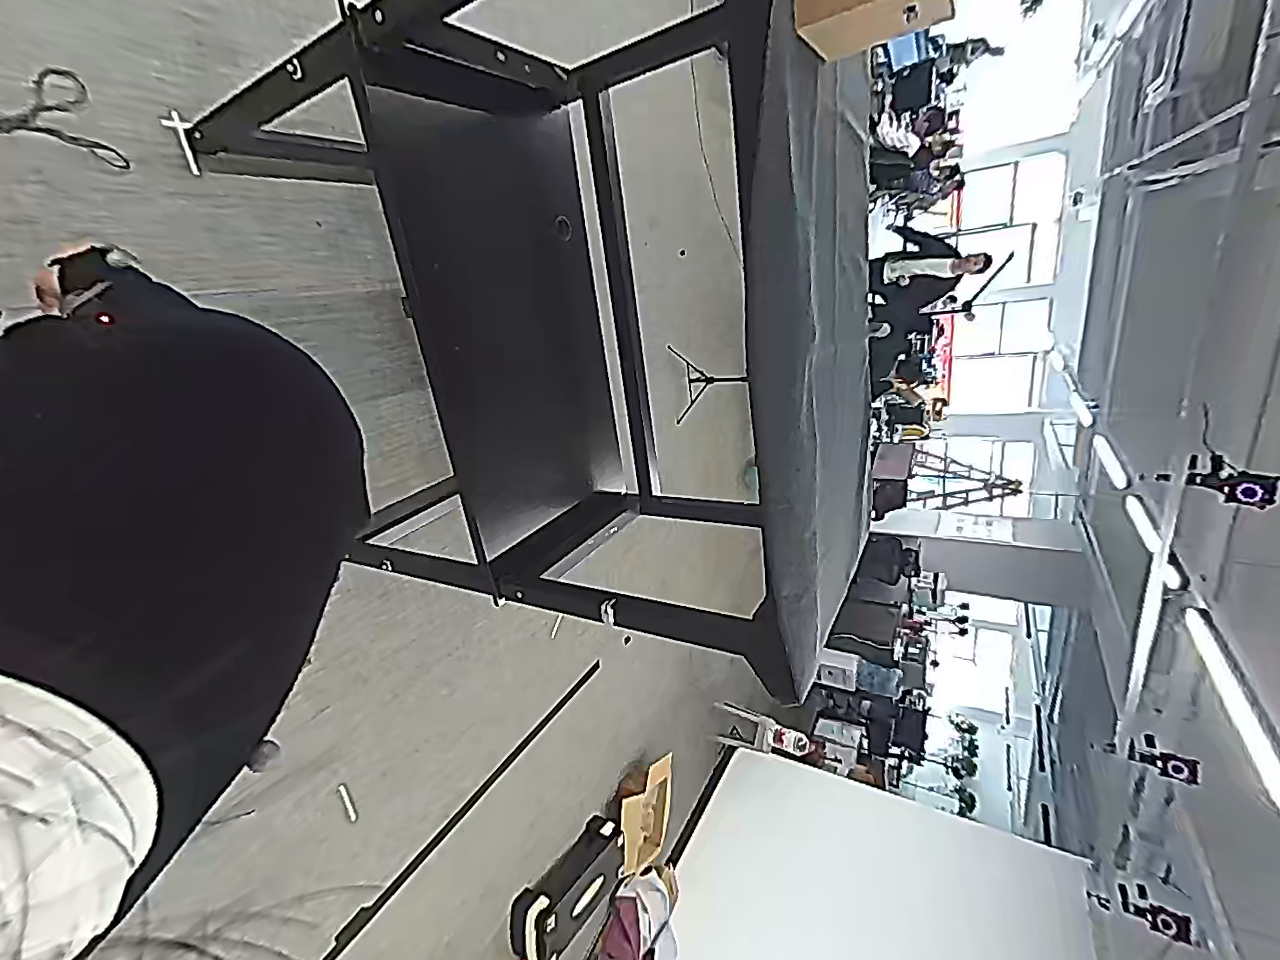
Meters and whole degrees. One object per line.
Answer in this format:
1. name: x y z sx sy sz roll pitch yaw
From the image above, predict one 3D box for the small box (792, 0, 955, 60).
1. small box: 0.288 -0.653 0.664 0.179 0.176 0.168 -38 125 -51
